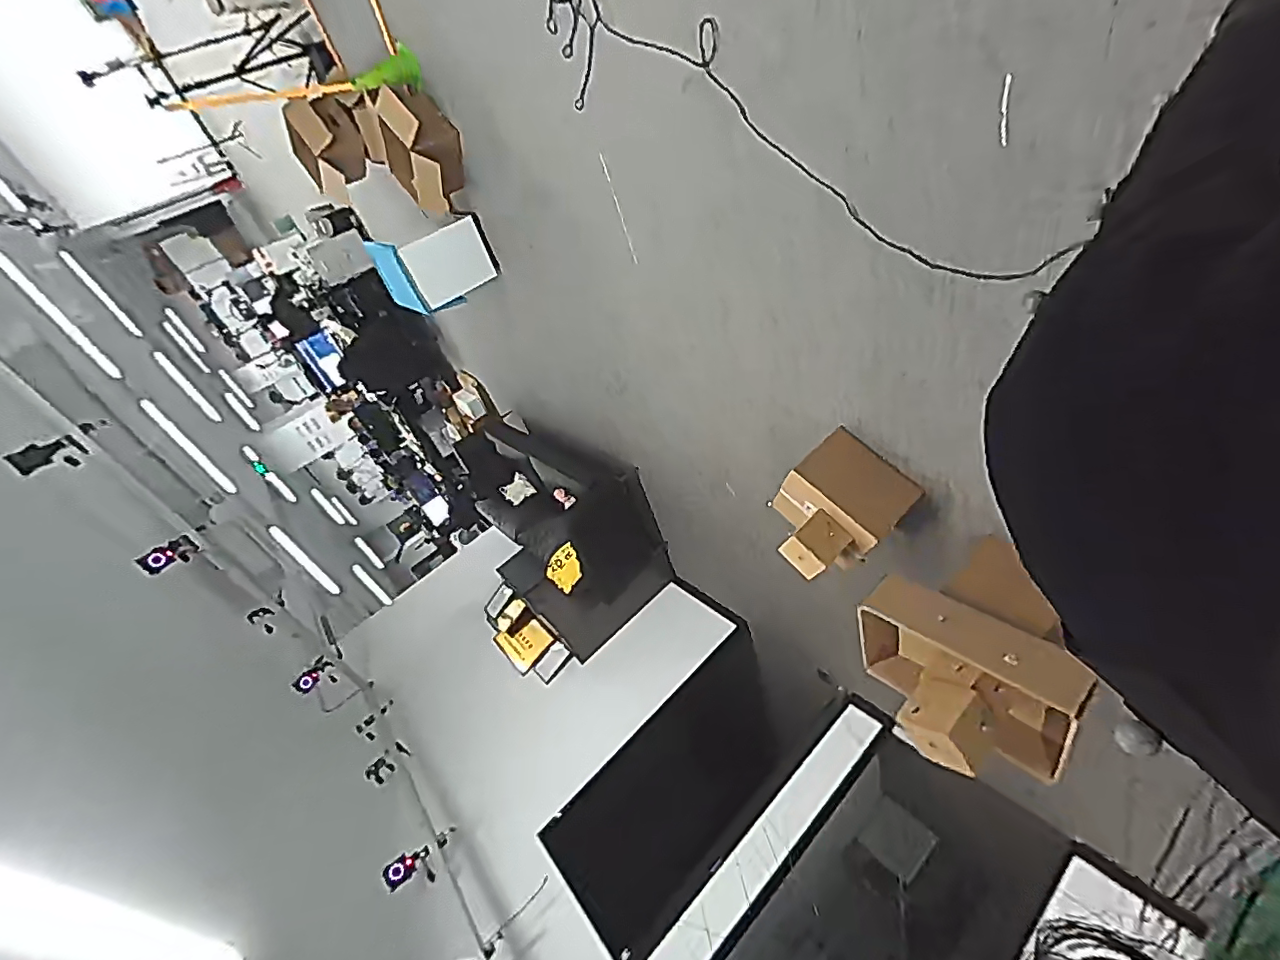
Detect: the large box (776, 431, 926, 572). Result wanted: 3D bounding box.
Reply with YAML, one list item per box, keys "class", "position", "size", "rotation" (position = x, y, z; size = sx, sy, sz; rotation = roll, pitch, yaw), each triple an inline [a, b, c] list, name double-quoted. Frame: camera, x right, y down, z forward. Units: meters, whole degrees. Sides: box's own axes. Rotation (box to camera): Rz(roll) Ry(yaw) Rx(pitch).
- class: "large box"
  position: [0.827, 0.086, 2.157]
  size: [0.408, 0.320, 0.320]
  rotation: [45, 157, 20]

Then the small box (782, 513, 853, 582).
- class: "small box"
  position: [0.677, 0.259, 2.062]
  size: [0.168, 0.176, 0.179]
  rotation: [46, 159, 16]

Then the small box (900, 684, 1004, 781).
- class: "small box"
  position: [0.916, 0.731, 1.588]
  size: [0.168, 0.176, 0.179]
  rotation: [55, 157, -9]
